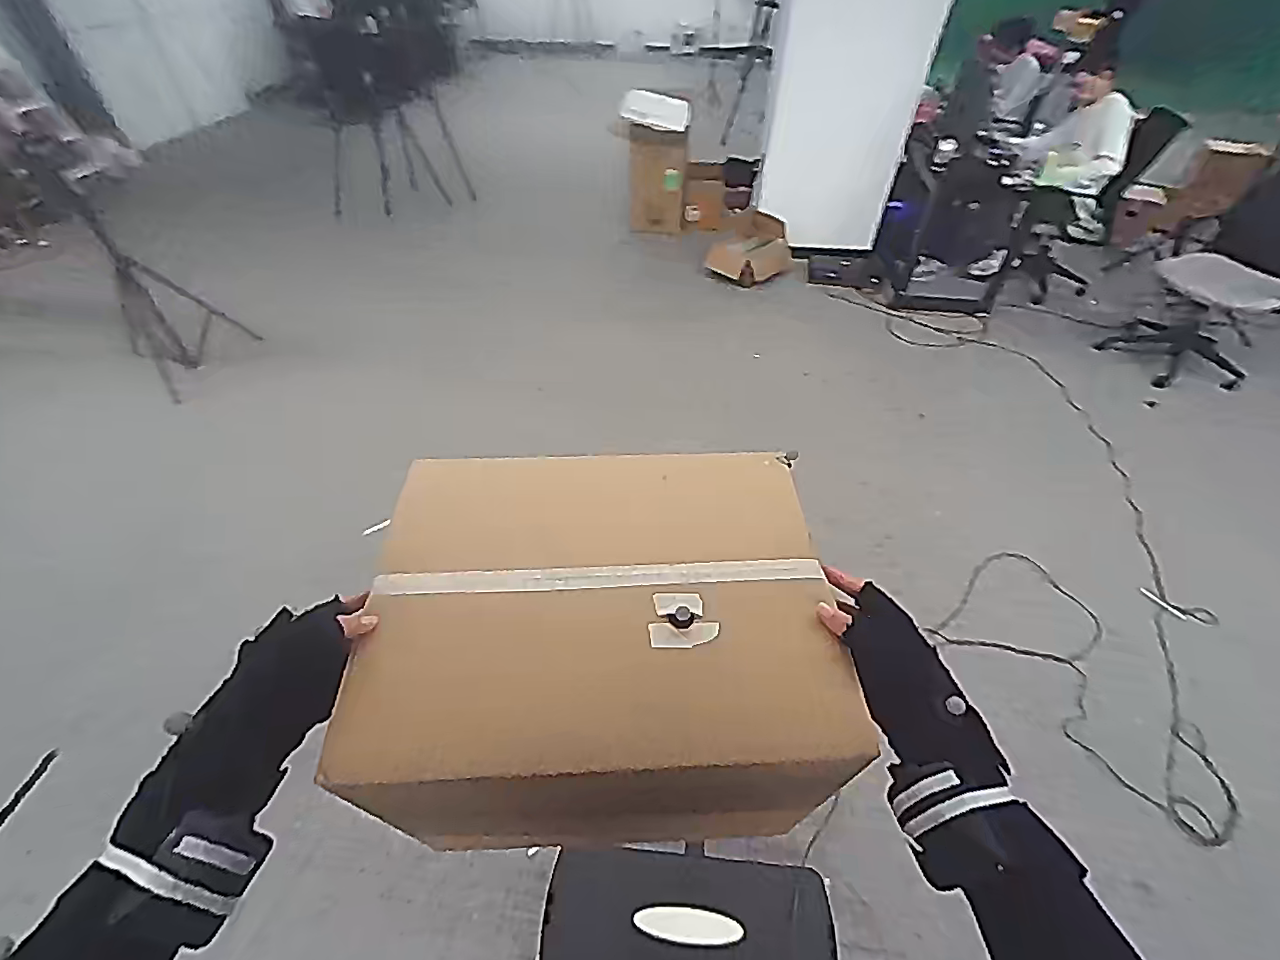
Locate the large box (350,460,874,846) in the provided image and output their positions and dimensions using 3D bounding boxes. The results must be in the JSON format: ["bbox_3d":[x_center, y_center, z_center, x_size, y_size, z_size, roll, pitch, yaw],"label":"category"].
[{"bbox_3d":[-0.029,0.195,0.611,0.408,0.320,0.320,-1,49,-3],"label":"large box"}]
